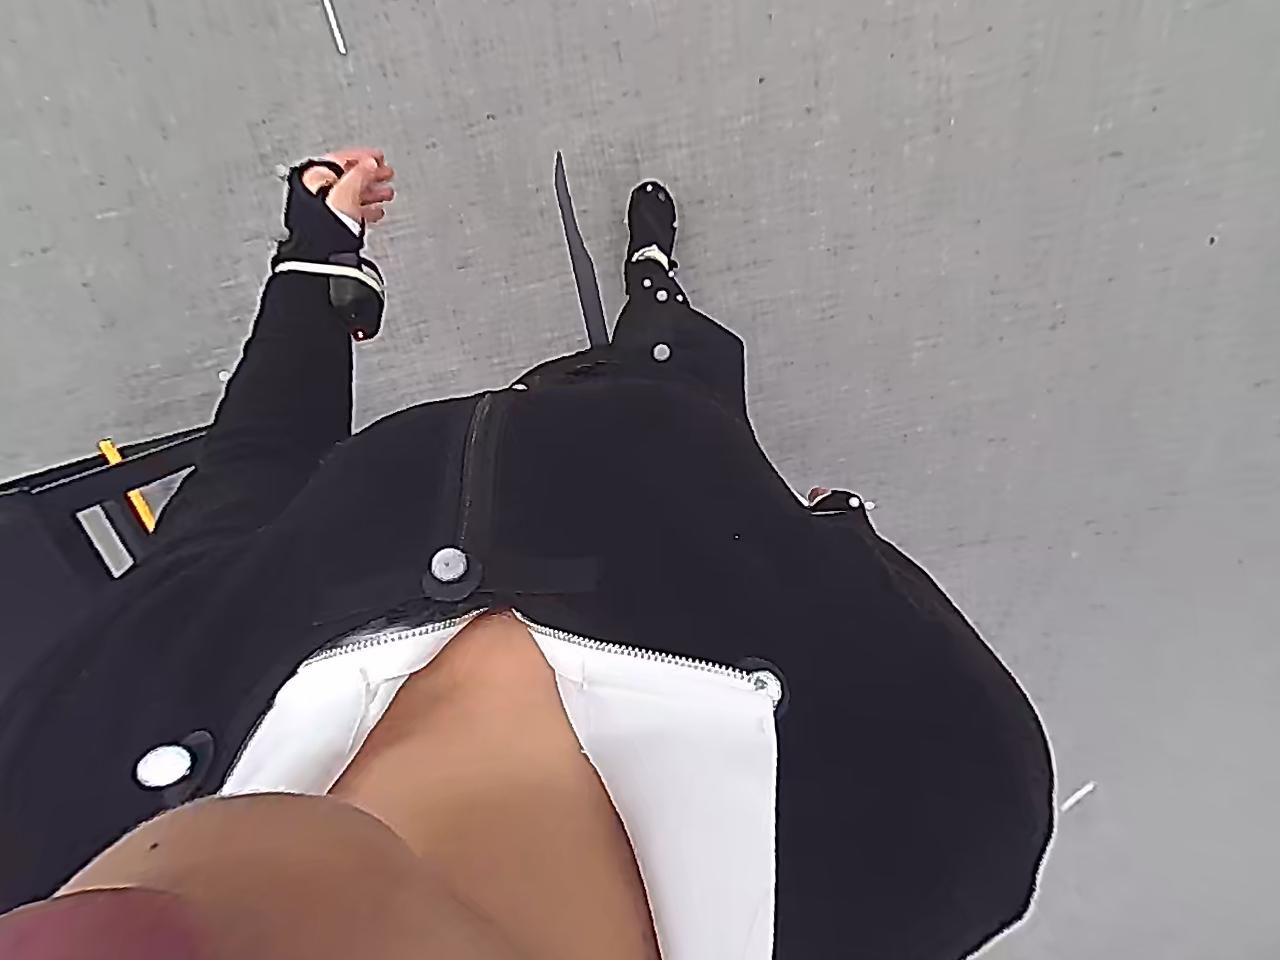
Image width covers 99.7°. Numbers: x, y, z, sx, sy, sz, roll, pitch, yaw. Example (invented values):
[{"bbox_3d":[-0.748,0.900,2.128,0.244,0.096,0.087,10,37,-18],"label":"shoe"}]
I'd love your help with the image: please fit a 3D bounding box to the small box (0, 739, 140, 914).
[{"bbox_3d":[-0.973,0.545,0.857,0.179,0.176,0.168,-12,110,4],"label":"small box"}]
